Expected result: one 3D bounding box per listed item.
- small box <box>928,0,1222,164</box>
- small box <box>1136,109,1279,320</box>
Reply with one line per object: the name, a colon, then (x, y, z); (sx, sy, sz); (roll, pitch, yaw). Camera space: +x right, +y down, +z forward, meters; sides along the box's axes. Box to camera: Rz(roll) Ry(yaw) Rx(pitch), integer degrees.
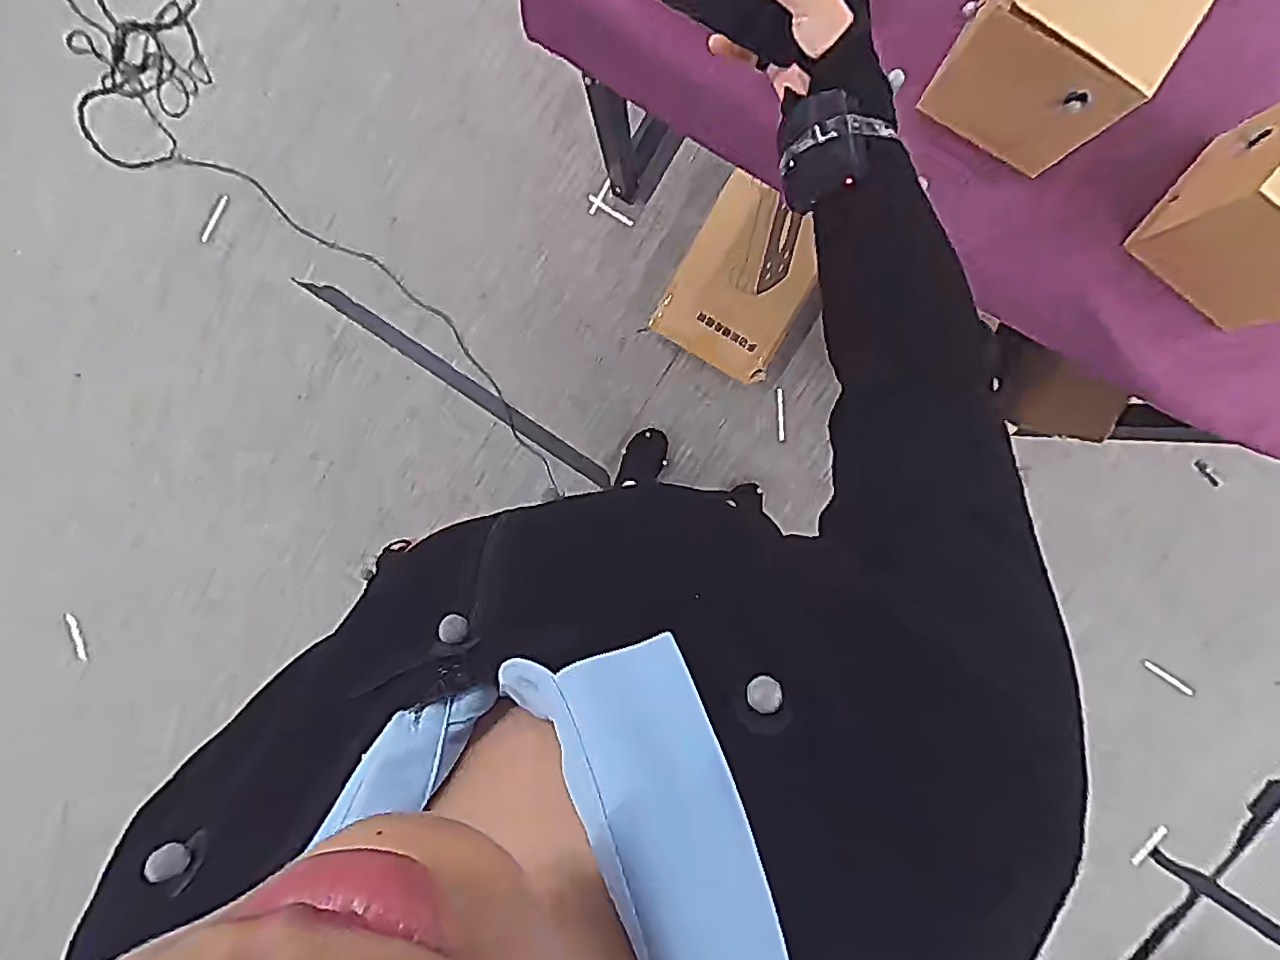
small box: (0.462, -0.483, 0.584); (0.179, 0.176, 0.168); (31, 95, 0)
small box: (0.722, -0.298, 0.591); (0.179, 0.176, 0.168); (38, 97, -2)
